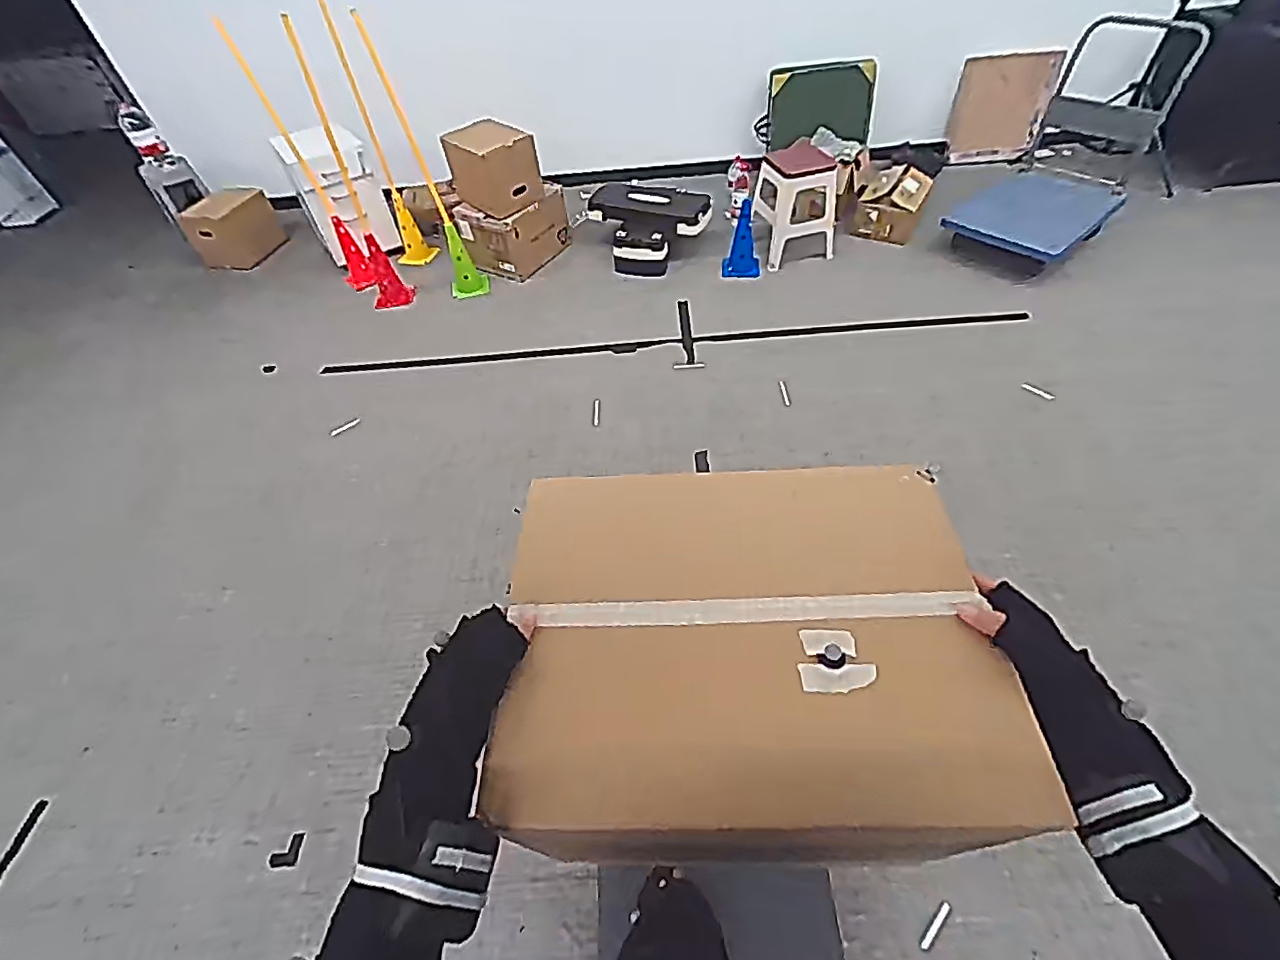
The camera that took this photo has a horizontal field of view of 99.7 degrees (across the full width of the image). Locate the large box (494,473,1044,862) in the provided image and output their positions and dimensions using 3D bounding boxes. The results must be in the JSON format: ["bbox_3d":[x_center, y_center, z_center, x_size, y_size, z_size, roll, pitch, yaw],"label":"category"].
[{"bbox_3d":[0.095,0.214,0.595,0.408,0.320,0.320,-2,51,3],"label":"large box"}]
